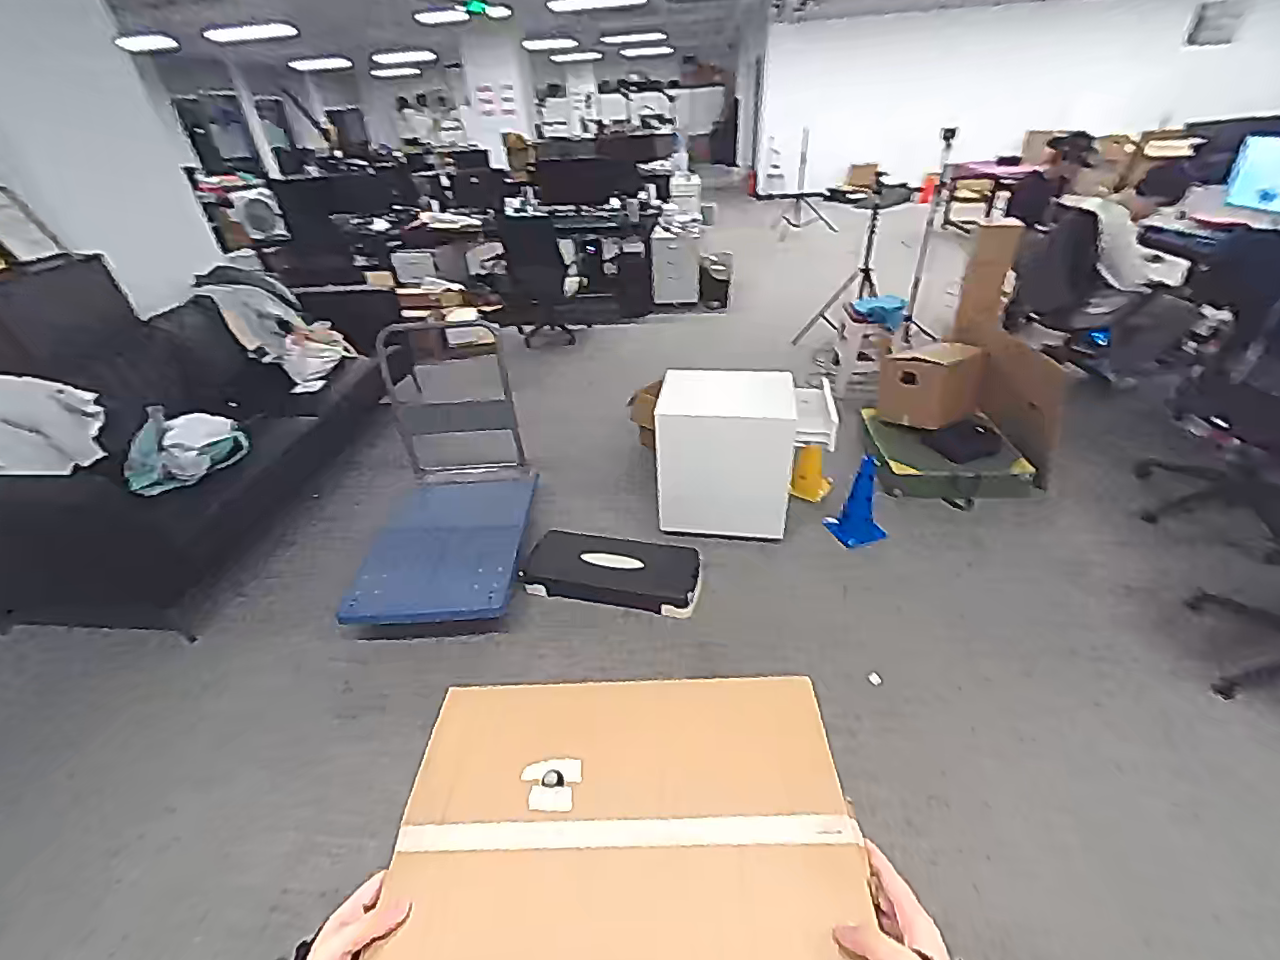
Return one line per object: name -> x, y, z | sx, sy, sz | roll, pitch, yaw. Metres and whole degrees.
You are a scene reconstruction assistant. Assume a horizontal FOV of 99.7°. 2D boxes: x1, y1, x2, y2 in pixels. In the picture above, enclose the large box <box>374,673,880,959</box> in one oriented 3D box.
large box -> -0.001, 0.441, 0.578 | 0.408, 0.320, 0.320 | -5, 35, 4
